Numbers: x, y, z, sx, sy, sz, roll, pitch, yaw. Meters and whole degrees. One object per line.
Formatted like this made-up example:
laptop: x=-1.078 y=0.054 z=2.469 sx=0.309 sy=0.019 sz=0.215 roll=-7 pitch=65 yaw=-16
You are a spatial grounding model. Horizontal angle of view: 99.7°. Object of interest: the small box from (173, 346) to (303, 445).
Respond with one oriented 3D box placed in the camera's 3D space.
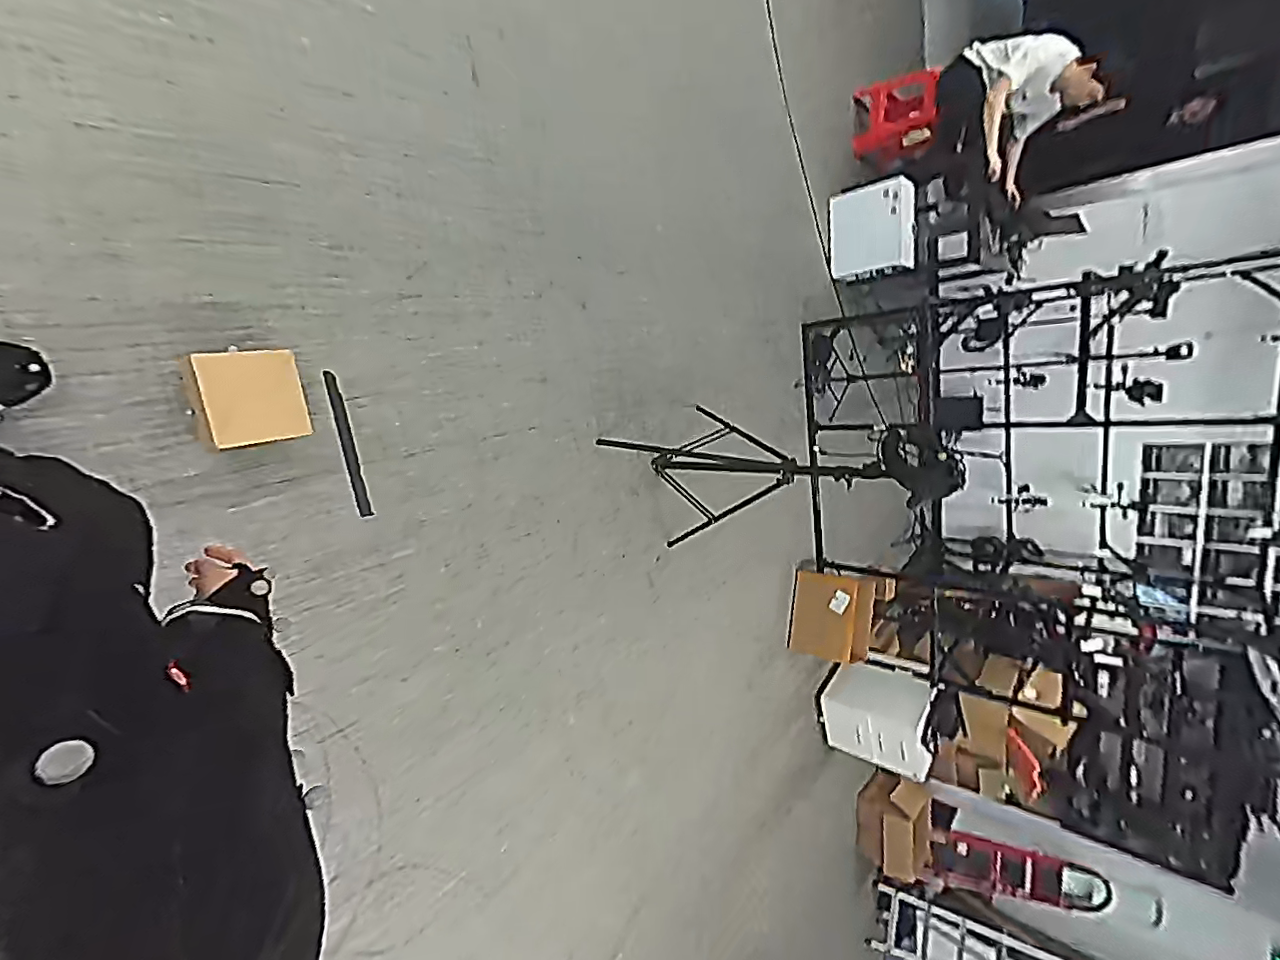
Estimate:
small box: x=-0.808 y=-0.168 z=1.091 sx=0.168 sy=0.176 sz=0.179 roll=-18 pitch=107 yaw=-45
